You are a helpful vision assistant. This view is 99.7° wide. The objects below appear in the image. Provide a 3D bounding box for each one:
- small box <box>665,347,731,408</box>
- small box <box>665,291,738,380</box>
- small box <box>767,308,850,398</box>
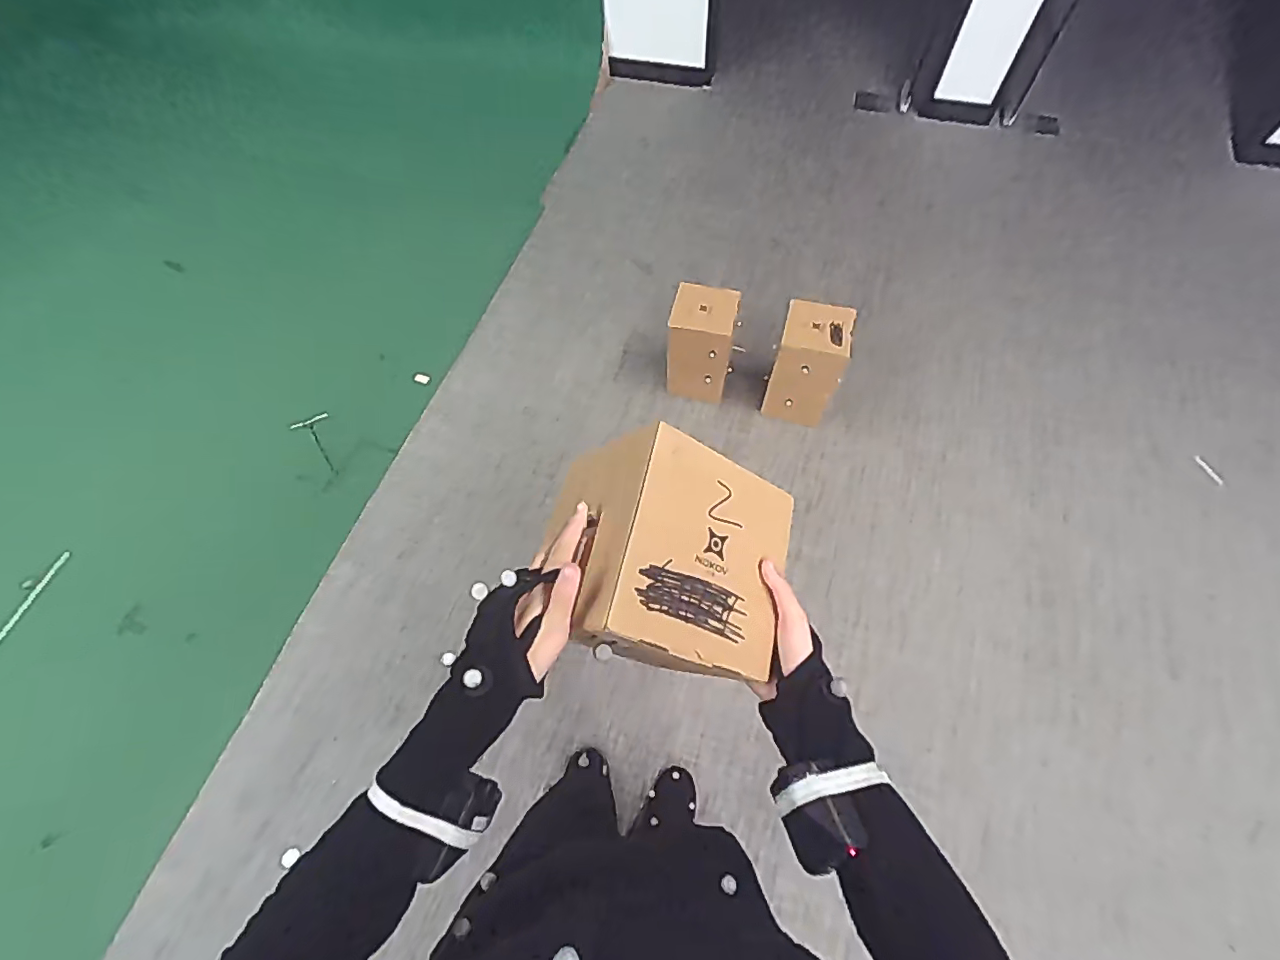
[{"bbox_3d":[0.183,-0.348,1.709,0.179,0.176,0.168,12,64,10],"label":"small box"},{"bbox_3d":[0.175,-0.411,1.559,0.179,0.176,0.168,12,64,10],"label":"small box"},{"bbox_3d":[0.467,-0.349,1.511,0.179,0.176,0.168,13,64,10],"label":"small box"}]
